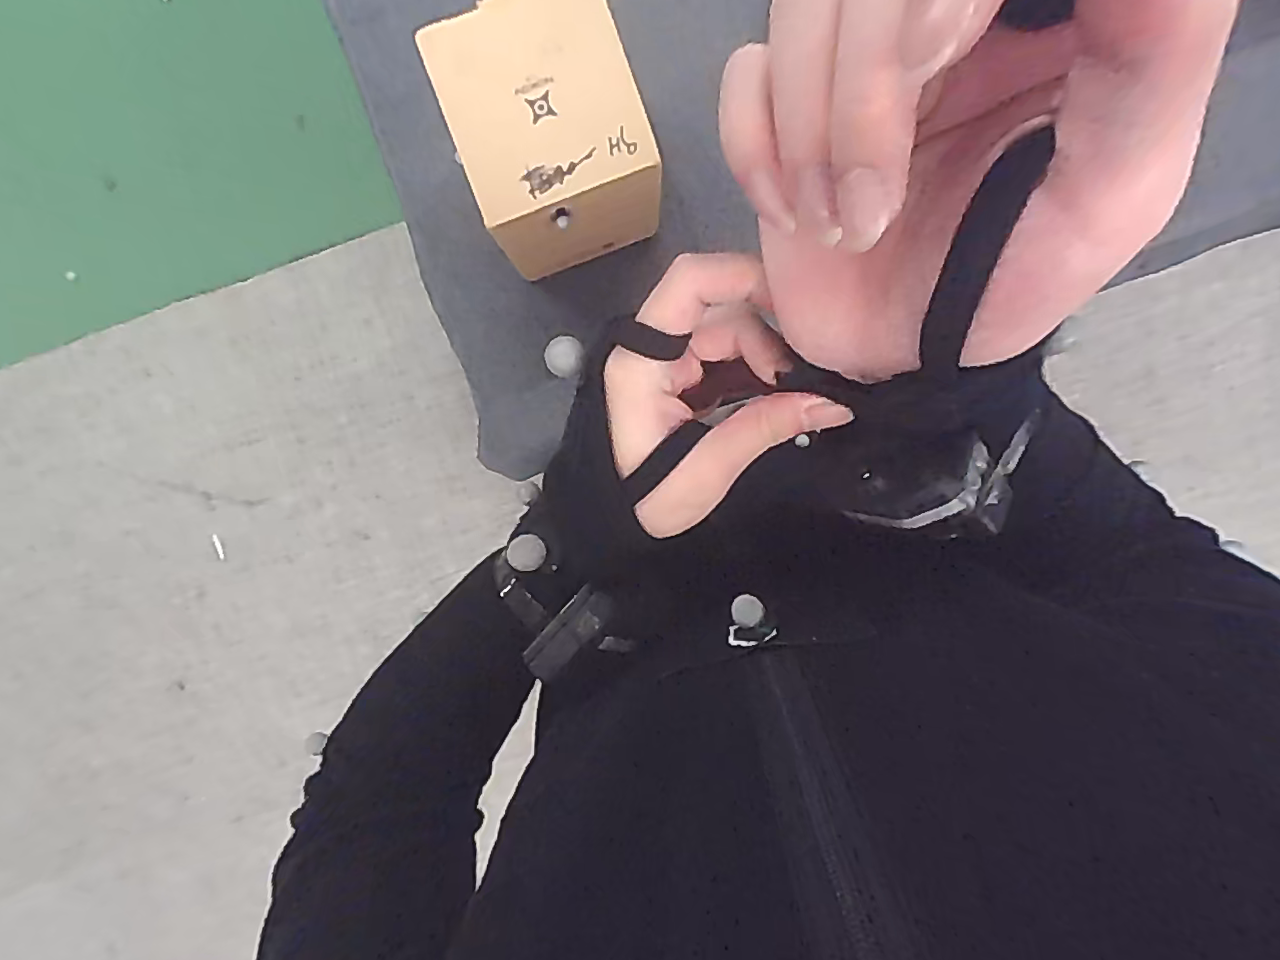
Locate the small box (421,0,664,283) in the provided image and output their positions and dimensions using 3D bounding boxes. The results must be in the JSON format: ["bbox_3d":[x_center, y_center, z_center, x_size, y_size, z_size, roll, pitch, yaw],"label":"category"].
[{"bbox_3d":[-0.084,-0.328,0.543,0.168,0.176,0.179,-20,94,3],"label":"small box"}]
